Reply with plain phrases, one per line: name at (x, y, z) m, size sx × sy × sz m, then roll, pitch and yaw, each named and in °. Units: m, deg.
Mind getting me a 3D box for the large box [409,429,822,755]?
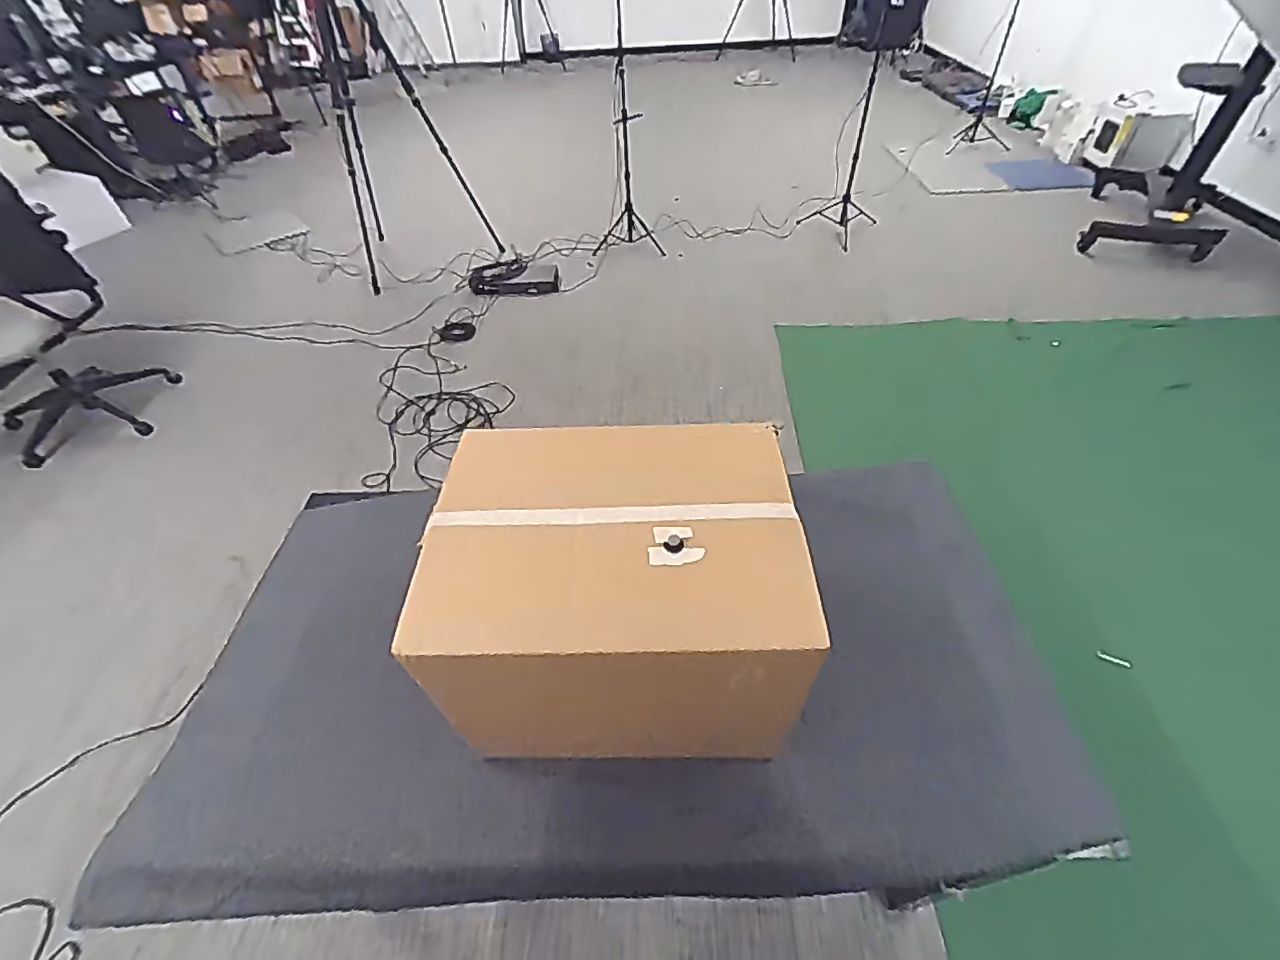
large box at (-0.023, 0.151, 0.720) m, size 0.408 × 0.320 × 0.320 m, roll -1°, pitch 47°, yaw 1°
